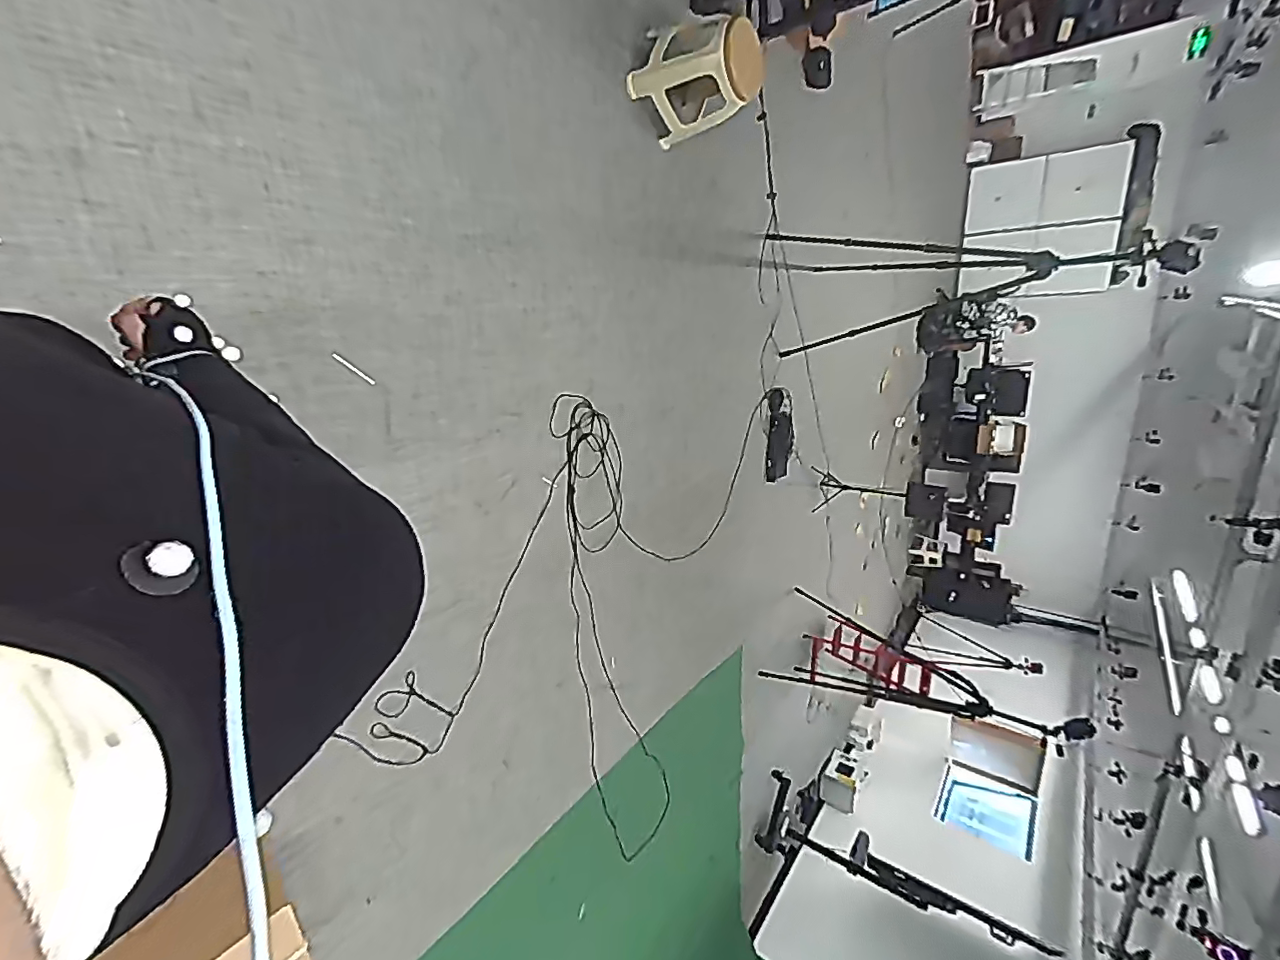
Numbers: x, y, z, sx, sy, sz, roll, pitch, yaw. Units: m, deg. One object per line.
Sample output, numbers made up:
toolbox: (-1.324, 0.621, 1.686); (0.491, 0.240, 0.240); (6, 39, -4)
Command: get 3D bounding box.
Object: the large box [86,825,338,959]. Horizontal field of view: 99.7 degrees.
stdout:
large box: (-1.077, 1.215, 1.386); (0.408, 0.320, 0.320); (-24, 115, -46)
